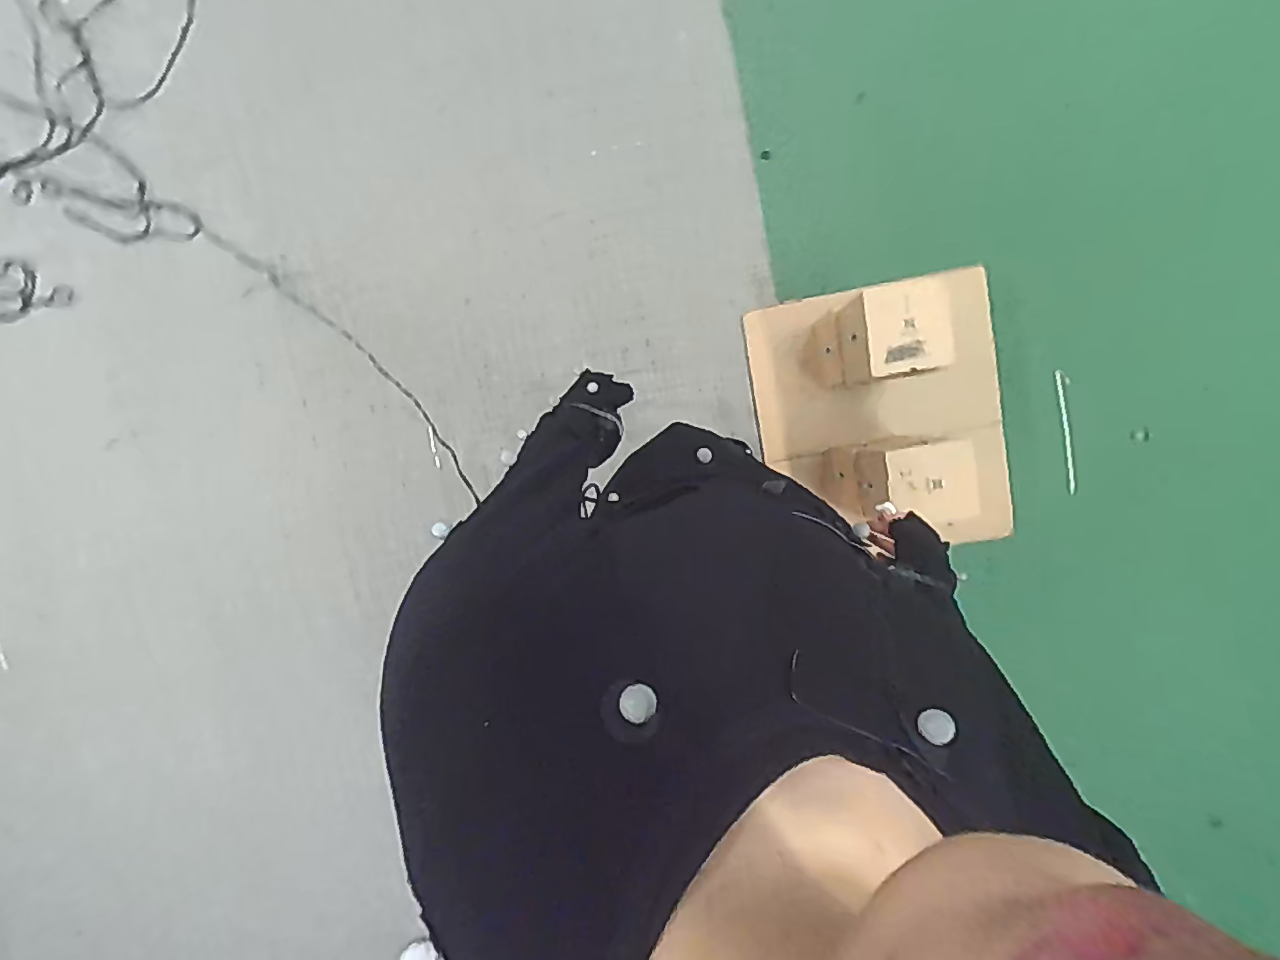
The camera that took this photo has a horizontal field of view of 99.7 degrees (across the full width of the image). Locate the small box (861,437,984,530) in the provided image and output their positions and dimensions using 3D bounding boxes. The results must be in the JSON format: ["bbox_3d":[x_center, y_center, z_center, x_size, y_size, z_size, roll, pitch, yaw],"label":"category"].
[{"bbox_3d":[0.601,0.001,1.166,0.179,0.176,0.168,-10,94,5],"label":"small box"}]

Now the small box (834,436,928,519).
[{"bbox_3d":[0.600,-0.013,1.332,0.179,0.176,0.168,-12,95,6],"label":"small box"}]

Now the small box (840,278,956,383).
[{"bbox_3d":[0.535,-0.304,1.139,0.168,0.176,0.179,-7,93,5],"label":"small box"}]
